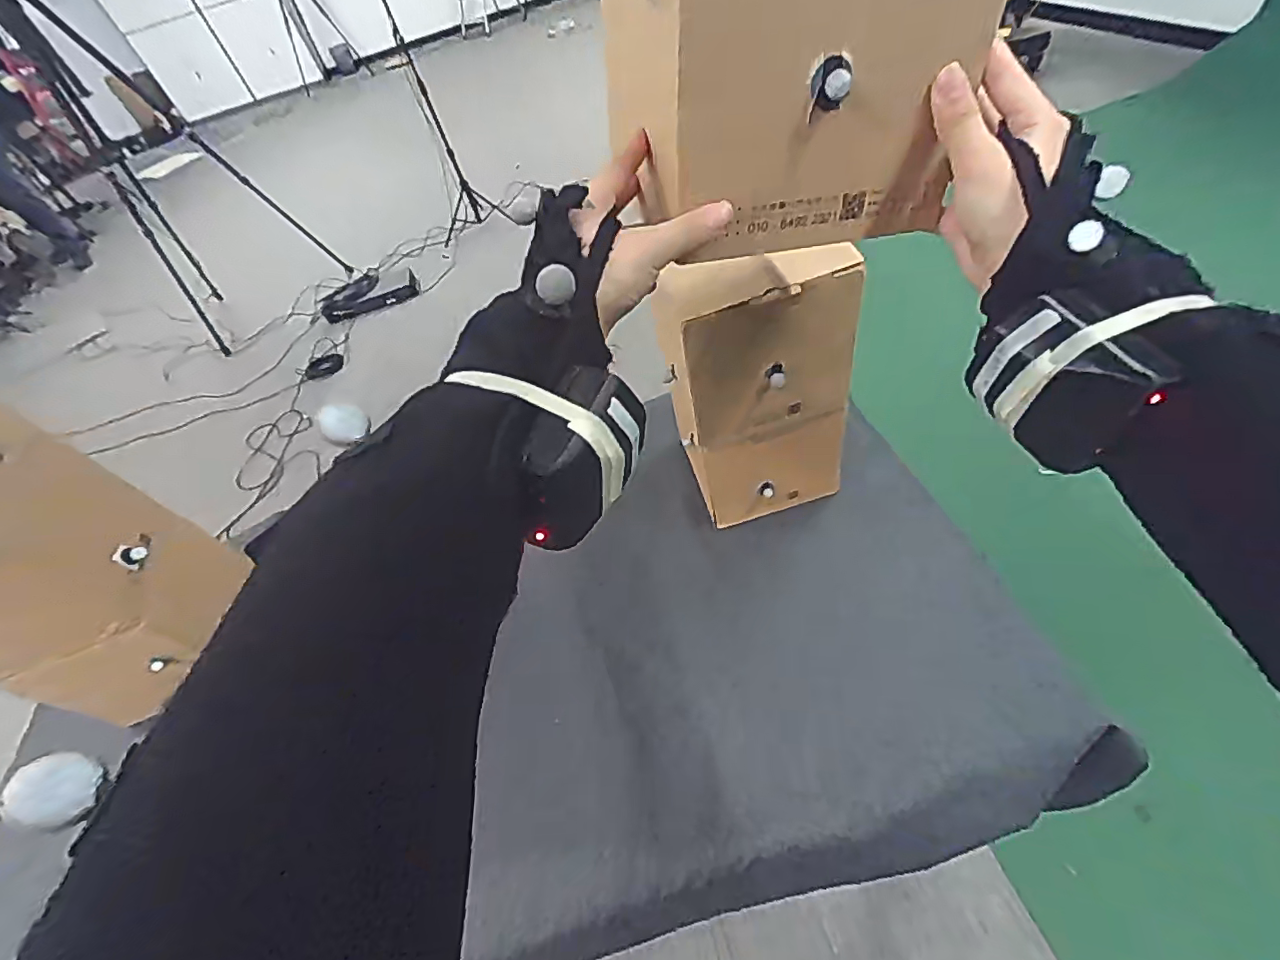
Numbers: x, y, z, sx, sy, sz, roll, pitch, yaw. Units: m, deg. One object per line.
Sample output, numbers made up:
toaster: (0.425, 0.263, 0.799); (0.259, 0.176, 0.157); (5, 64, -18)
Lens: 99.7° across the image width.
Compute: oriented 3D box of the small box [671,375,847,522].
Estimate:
small box: (0.142, -0.075, 0.695); (0.168, 0.176, 0.179); (-17, 51, 1)

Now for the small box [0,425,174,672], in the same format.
small box: (-0.655, 0.079, 0.565); (0.179, 0.176, 0.168); (-21, 52, -5)

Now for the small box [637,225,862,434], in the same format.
small box: (0.108, -0.169, 0.564); (0.168, 0.176, 0.179); (-17, 52, 1)

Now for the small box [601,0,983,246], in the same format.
small box: (0.075, -0.251, 0.321); (0.168, 0.176, 0.179); (-11, 44, -9)
